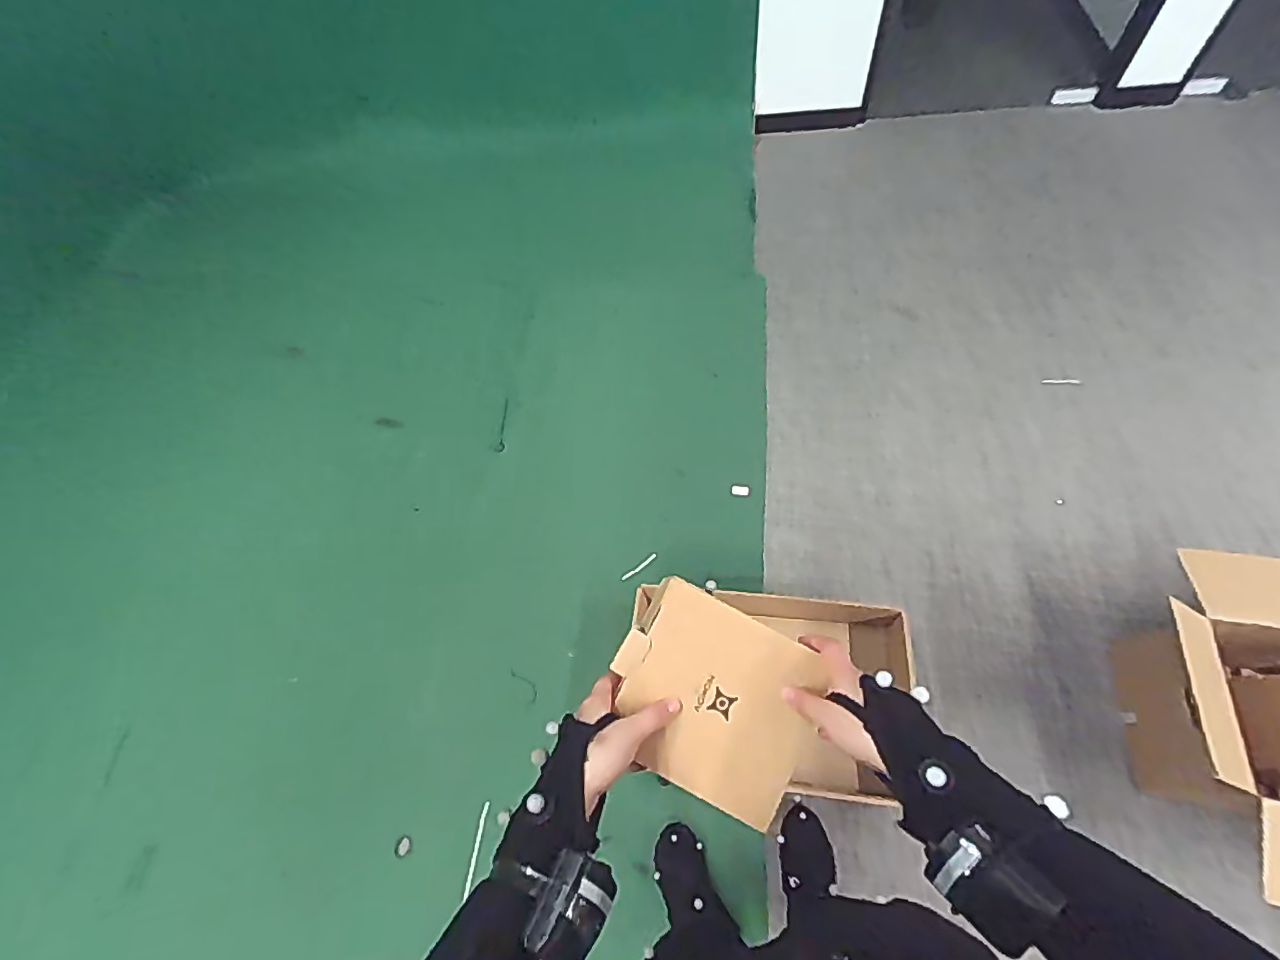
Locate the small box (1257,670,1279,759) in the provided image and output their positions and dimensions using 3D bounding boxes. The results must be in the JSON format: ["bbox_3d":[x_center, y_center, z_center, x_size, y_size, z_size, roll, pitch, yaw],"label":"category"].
[{"bbox_3d":[1.259,0.435,0.944,0.168,0.176,0.179,13,64,11],"label":"small box"}]

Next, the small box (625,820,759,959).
[{"bbox_3d":[0.109,0.815,1.076,0.176,0.168,0.179,45,46,-3],"label":"small box"}]

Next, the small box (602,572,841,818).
[{"bbox_3d":[0.078,0.209,0.581,0.179,0.176,0.168,26,81,5],"label":"small box"}]
